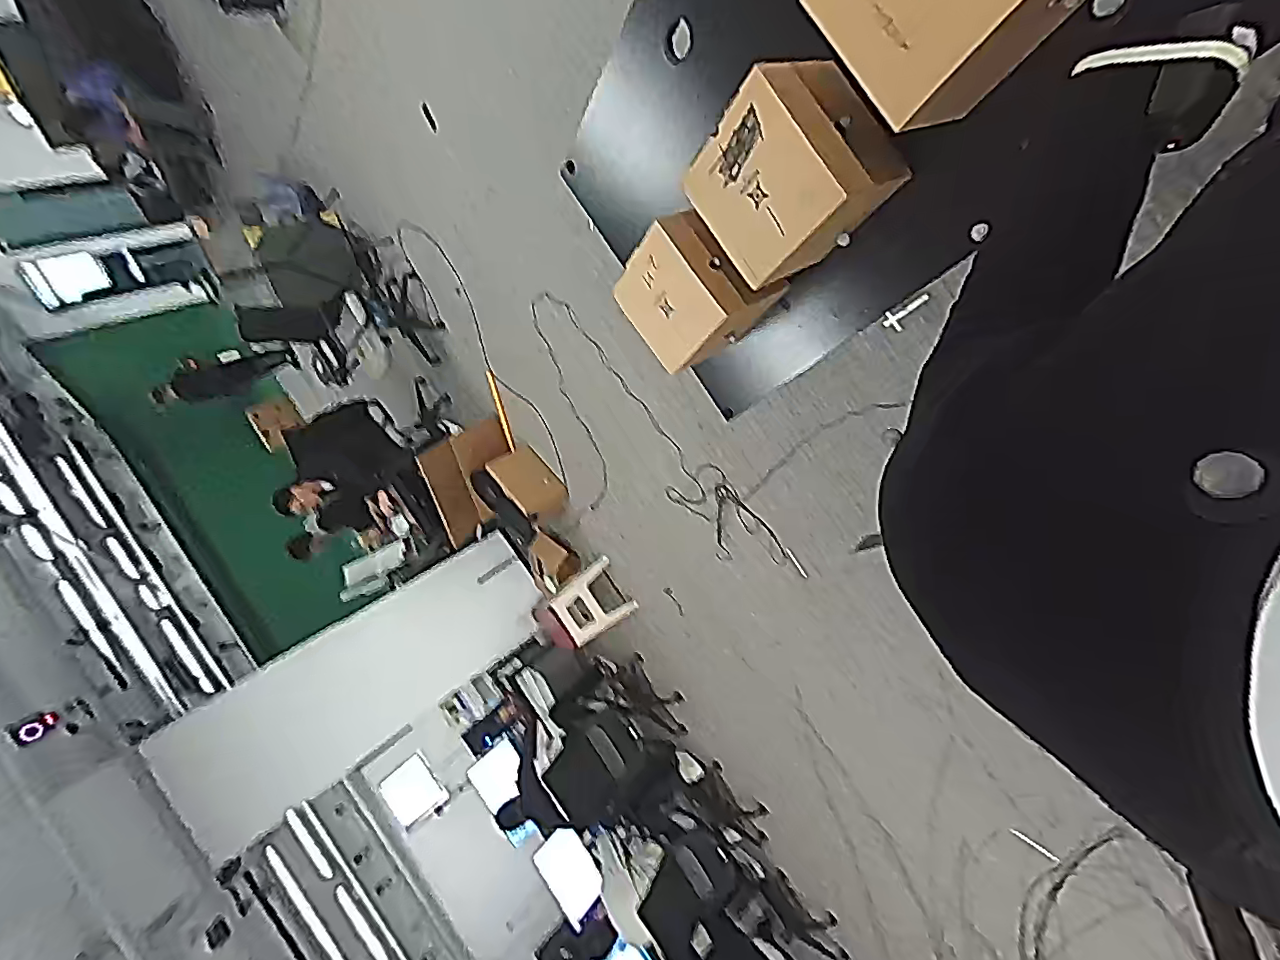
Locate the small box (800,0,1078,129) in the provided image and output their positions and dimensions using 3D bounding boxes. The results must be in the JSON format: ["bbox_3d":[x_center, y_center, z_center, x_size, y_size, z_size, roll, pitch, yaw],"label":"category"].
[{"bbox_3d":[0.291,-0.466,0.491,0.168,0.176,0.179,56,148,3],"label":"small box"}]
